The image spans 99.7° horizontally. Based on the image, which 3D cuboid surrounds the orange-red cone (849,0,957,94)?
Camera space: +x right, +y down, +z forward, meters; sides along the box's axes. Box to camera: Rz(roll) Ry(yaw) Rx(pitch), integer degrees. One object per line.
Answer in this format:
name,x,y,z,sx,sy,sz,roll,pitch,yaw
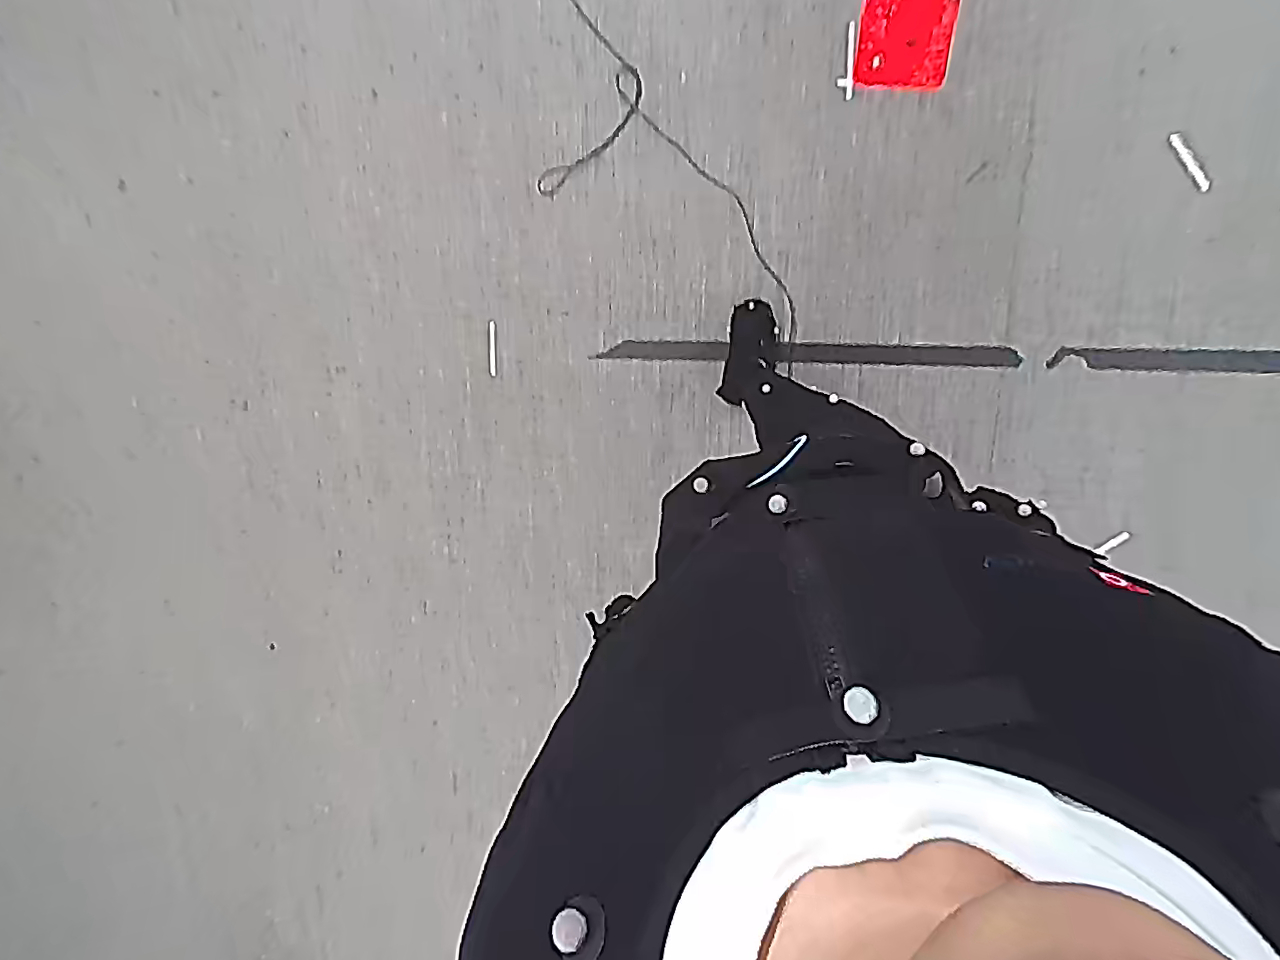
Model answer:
orange-red cone,0.556,-0.937,1.024,0.199,0.360,0.198,9,101,6
